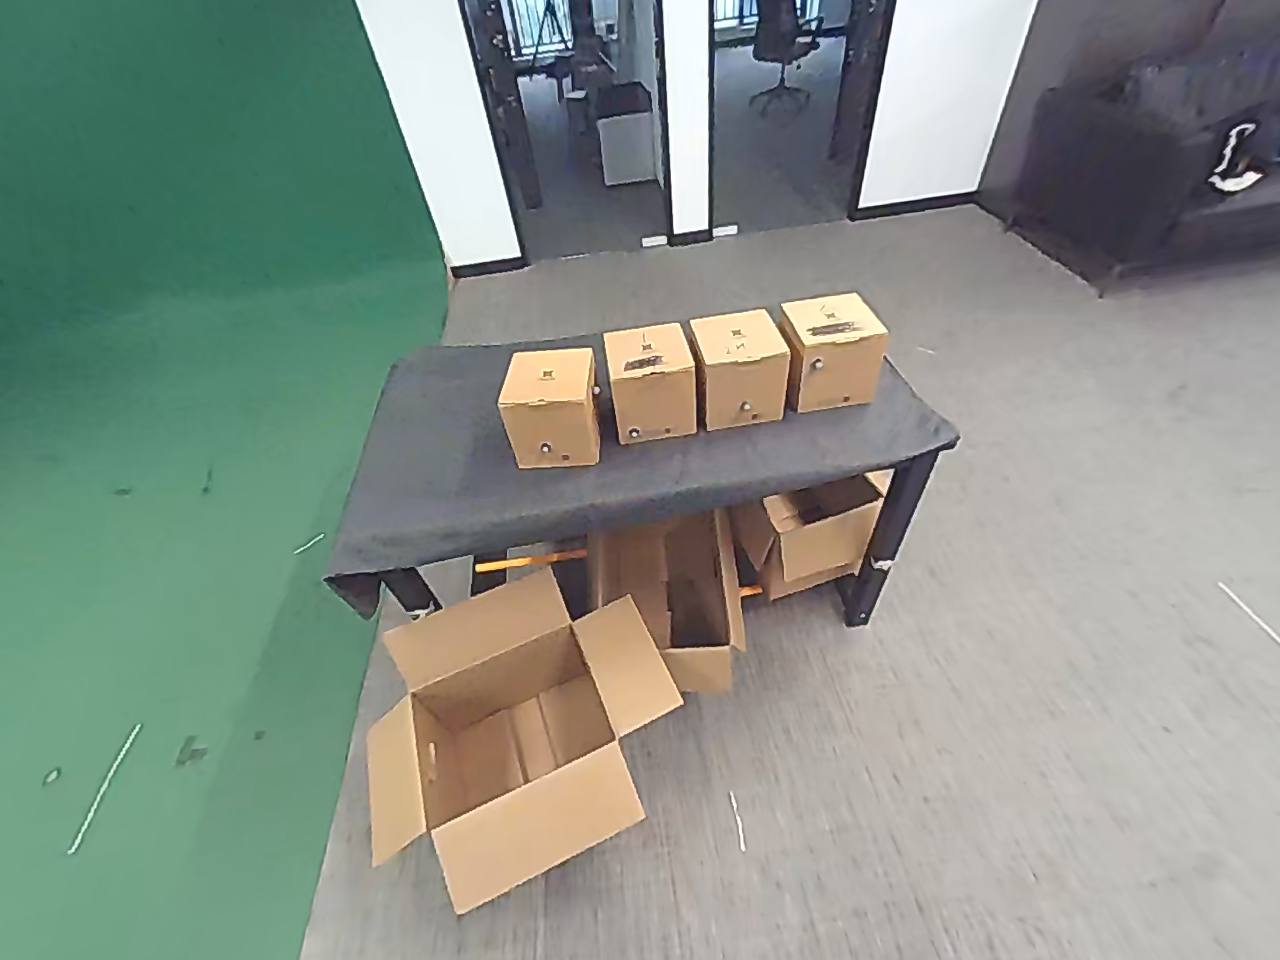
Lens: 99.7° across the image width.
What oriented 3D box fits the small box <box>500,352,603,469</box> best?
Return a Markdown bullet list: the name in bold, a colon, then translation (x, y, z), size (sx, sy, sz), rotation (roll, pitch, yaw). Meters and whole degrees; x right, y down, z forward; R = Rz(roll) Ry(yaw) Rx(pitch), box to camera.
- **small box**: translation (-0.171, -0.141, 1.110), size (0.168, 0.176, 0.179), rotation (-3, 46, 4)
